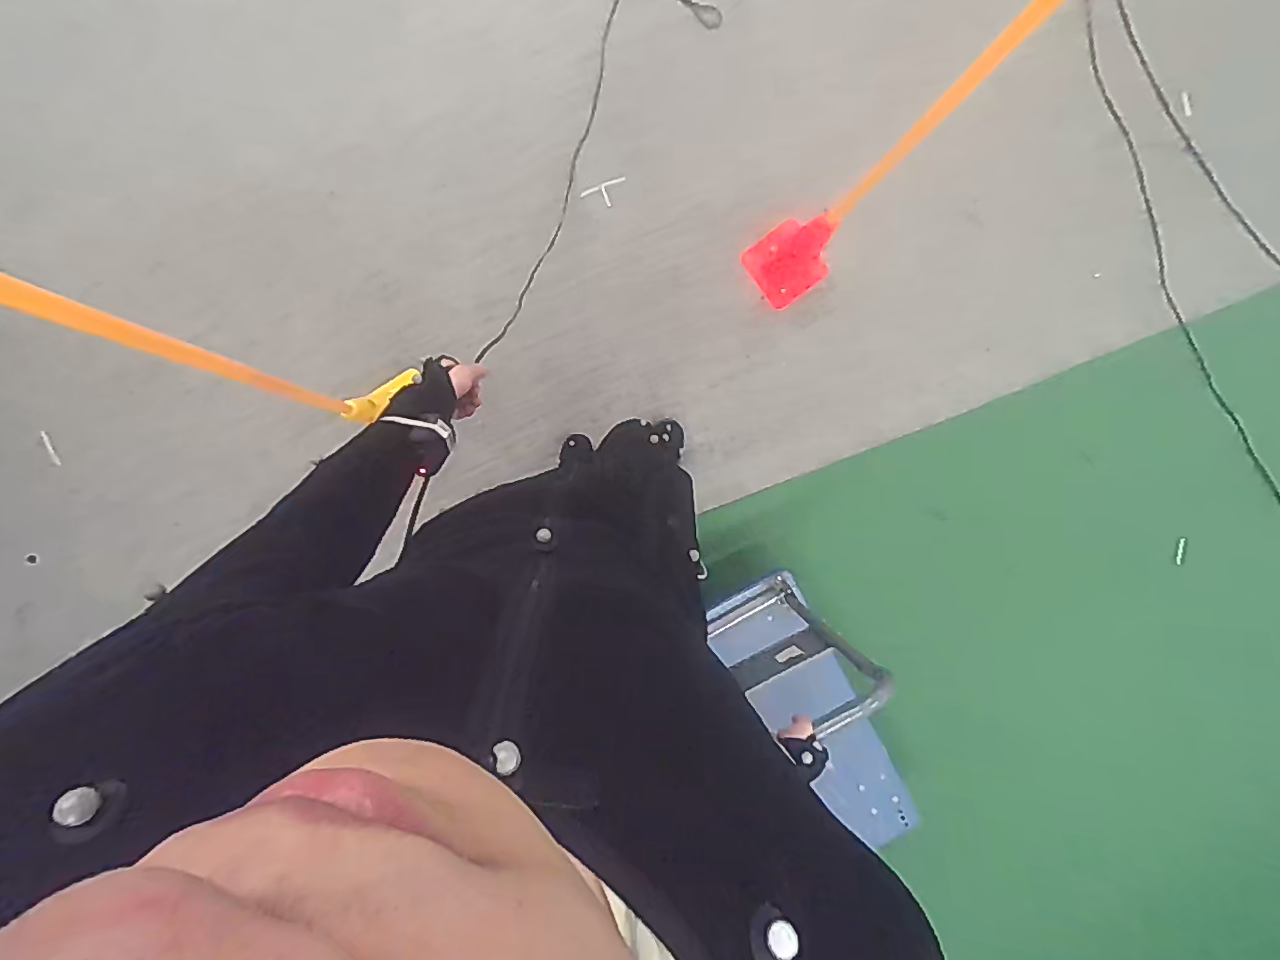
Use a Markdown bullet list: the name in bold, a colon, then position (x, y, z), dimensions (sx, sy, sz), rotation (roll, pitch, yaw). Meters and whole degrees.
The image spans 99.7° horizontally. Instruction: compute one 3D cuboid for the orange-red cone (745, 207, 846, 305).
- **orange-red cone**: position (0.438, -0.618, 1.396), dimensions (0.199, 0.360, 0.198), rotation (-36, 97, 0)
